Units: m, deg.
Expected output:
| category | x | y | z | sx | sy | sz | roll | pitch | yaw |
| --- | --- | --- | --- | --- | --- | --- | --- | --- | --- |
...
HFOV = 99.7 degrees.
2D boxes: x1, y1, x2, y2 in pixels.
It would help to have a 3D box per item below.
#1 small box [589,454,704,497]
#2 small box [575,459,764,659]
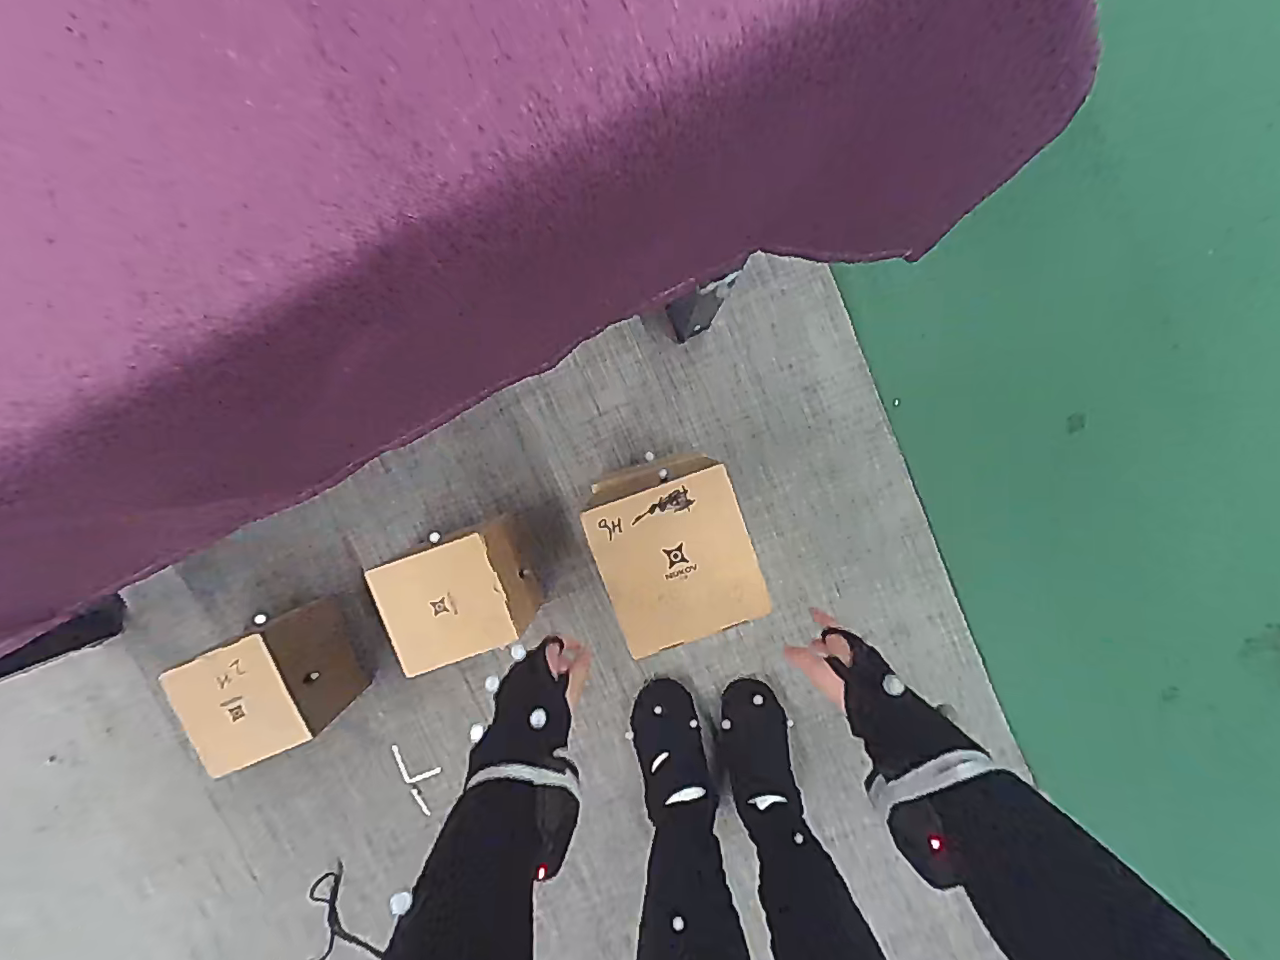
| category | x | y | z | sx | sy | sz | roll | pitch | yaw |
| --- | --- | --- | --- | --- | --- | --- | --- | --- | --- |
| small box | 0.030 | 0.064 | 0.827 | 0.168 | 0.176 | 0.179 | -15 | 94 | 2 |
| small box | 0.035 | 0.084 | 0.663 | 0.168 | 0.176 | 0.179 | -19 | 96 | 2 |
